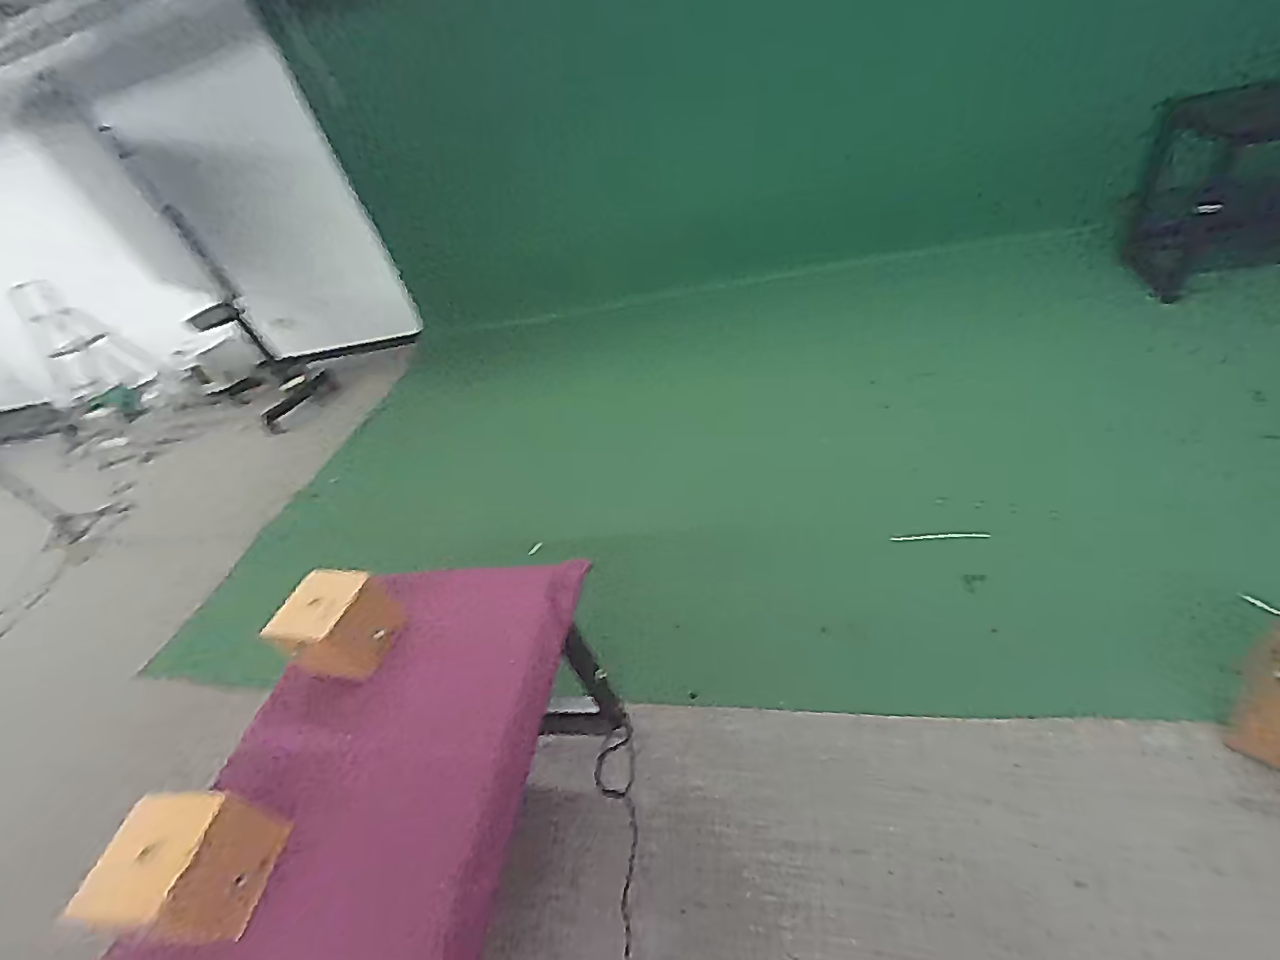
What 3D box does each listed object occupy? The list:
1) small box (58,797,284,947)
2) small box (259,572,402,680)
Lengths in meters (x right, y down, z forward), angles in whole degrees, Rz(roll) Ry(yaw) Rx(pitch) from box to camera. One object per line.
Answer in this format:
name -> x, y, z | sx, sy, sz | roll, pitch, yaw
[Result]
small box -> -0.737, 0.633, 0.875 | 0.179, 0.176, 0.168 | -7, 41, 11
small box -> -0.673, 0.323, 1.197 | 0.179, 0.176, 0.168 | 0, 44, 19
